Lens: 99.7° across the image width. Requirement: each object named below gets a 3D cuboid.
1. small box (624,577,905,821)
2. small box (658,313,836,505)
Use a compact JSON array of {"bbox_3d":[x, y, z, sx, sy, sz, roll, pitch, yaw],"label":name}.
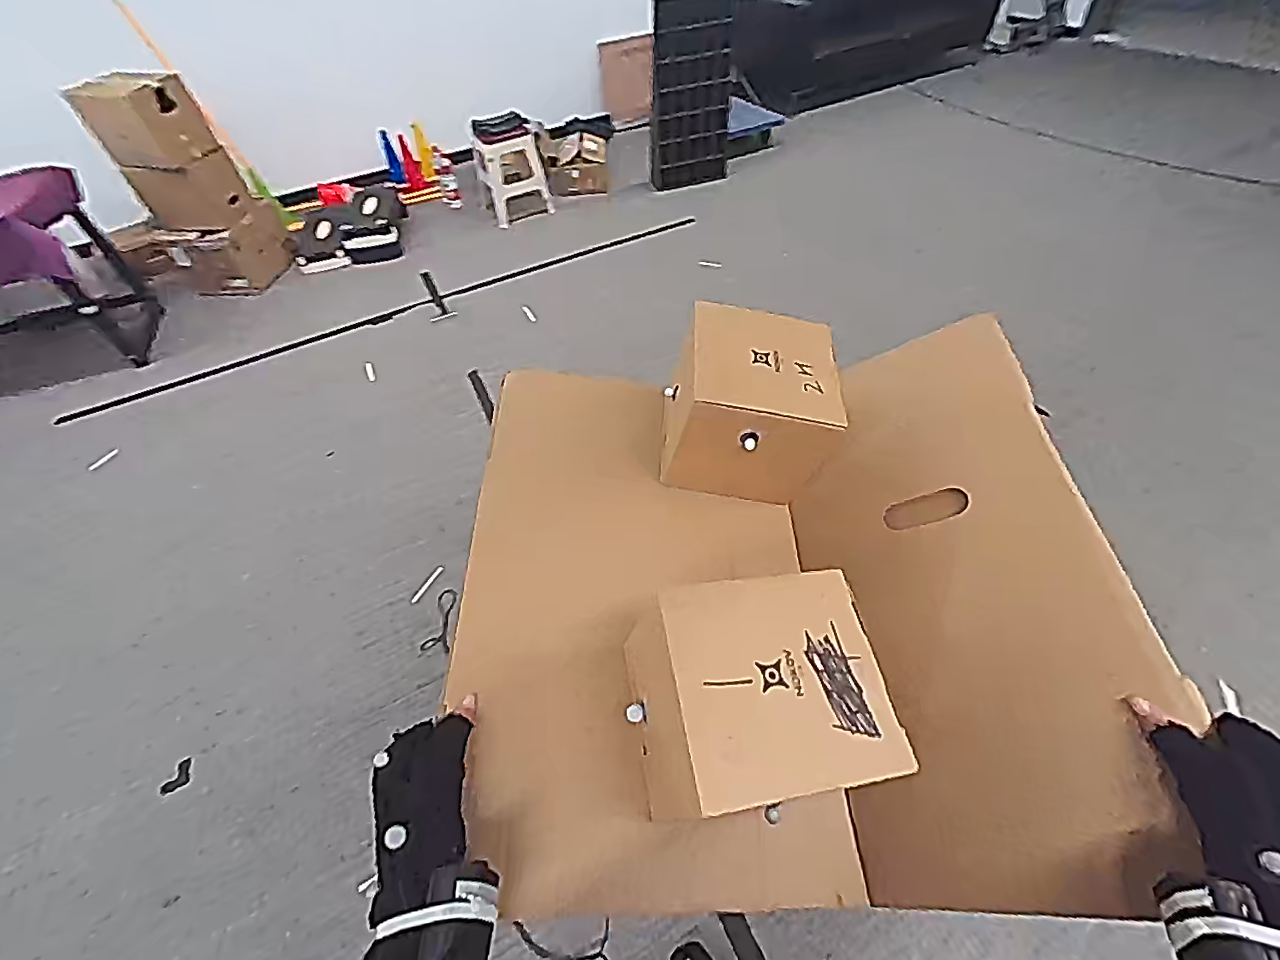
[{"bbox_3d":[0.093,0.203,0.499,0.179,0.176,0.168,-4,58,-14],"label":"small box"},{"bbox_3d":[0.123,-0.083,0.697,0.179,0.176,0.168,9,56,-7],"label":"small box"}]
